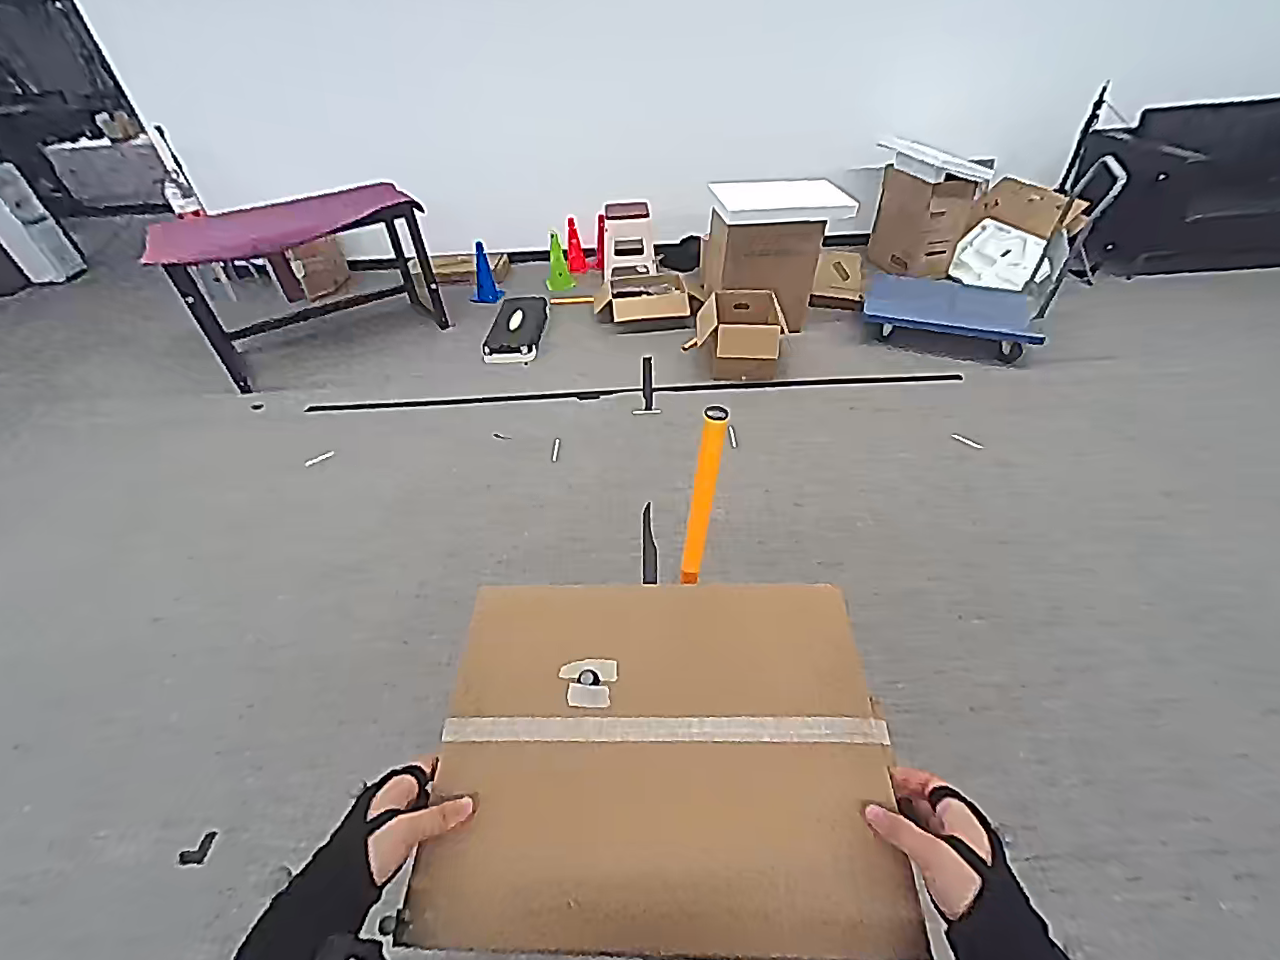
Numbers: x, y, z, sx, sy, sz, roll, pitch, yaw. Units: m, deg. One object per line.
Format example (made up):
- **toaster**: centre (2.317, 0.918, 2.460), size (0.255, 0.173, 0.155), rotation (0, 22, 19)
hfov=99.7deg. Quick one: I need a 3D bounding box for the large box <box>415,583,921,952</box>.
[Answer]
- **large box**: centre (0.031, 0.338, 0.627), size (0.408, 0.320, 0.320), rotation (-3, 48, 4)
